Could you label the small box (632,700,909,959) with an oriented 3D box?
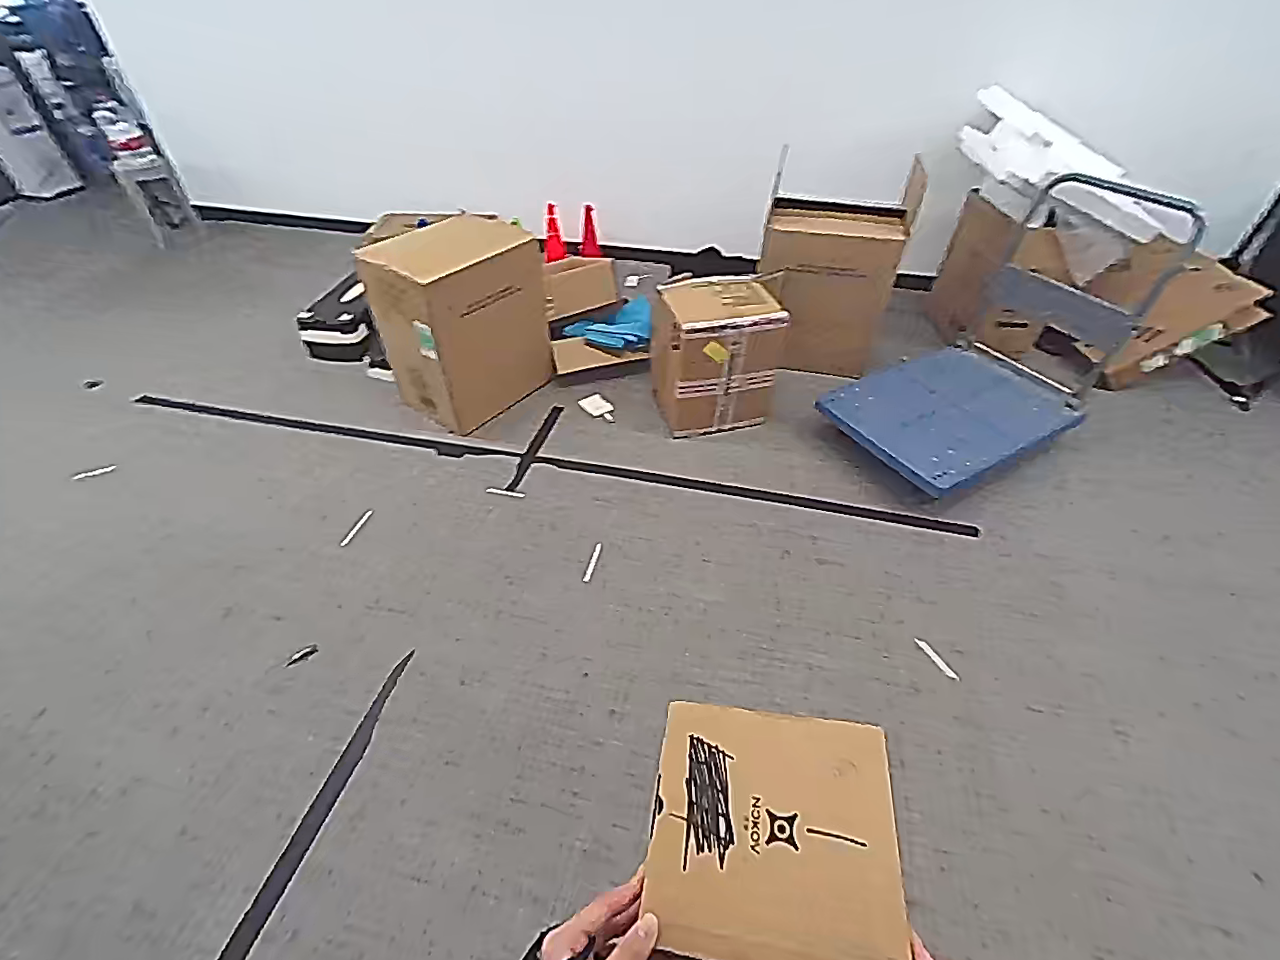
[{"bbox_3d":[0.105,0.304,0.448,0.179,0.176,0.168,1,46,13],"label":"small box"}]
